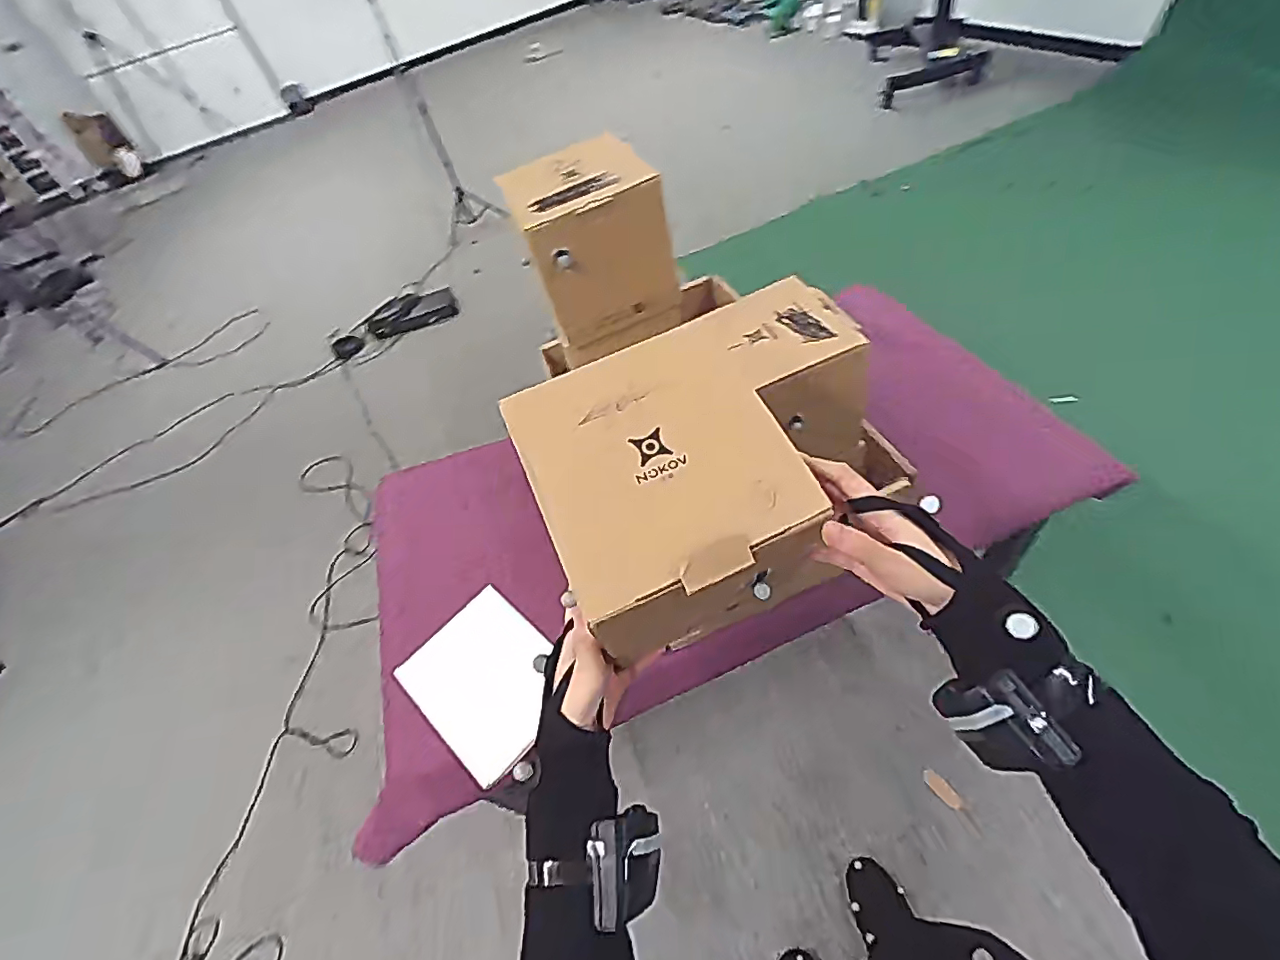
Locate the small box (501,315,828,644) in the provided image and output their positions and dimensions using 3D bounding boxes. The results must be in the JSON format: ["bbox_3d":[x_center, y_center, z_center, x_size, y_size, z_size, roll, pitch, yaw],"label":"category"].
[{"bbox_3d":[0.015,0.014,0.423,0.168,0.176,0.179,-23,64,-6],"label":"small box"}]

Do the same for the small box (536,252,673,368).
[{"bbox_3d":[-0.041,-0.215,0.844,0.168,0.176,0.179,-23,50,-3],"label":"small box"}]

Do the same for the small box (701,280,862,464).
[{"bbox_3d":[0.159,-0.119,0.699,0.179,0.176,0.168,-24,48,-1],"label":"small box"}]
